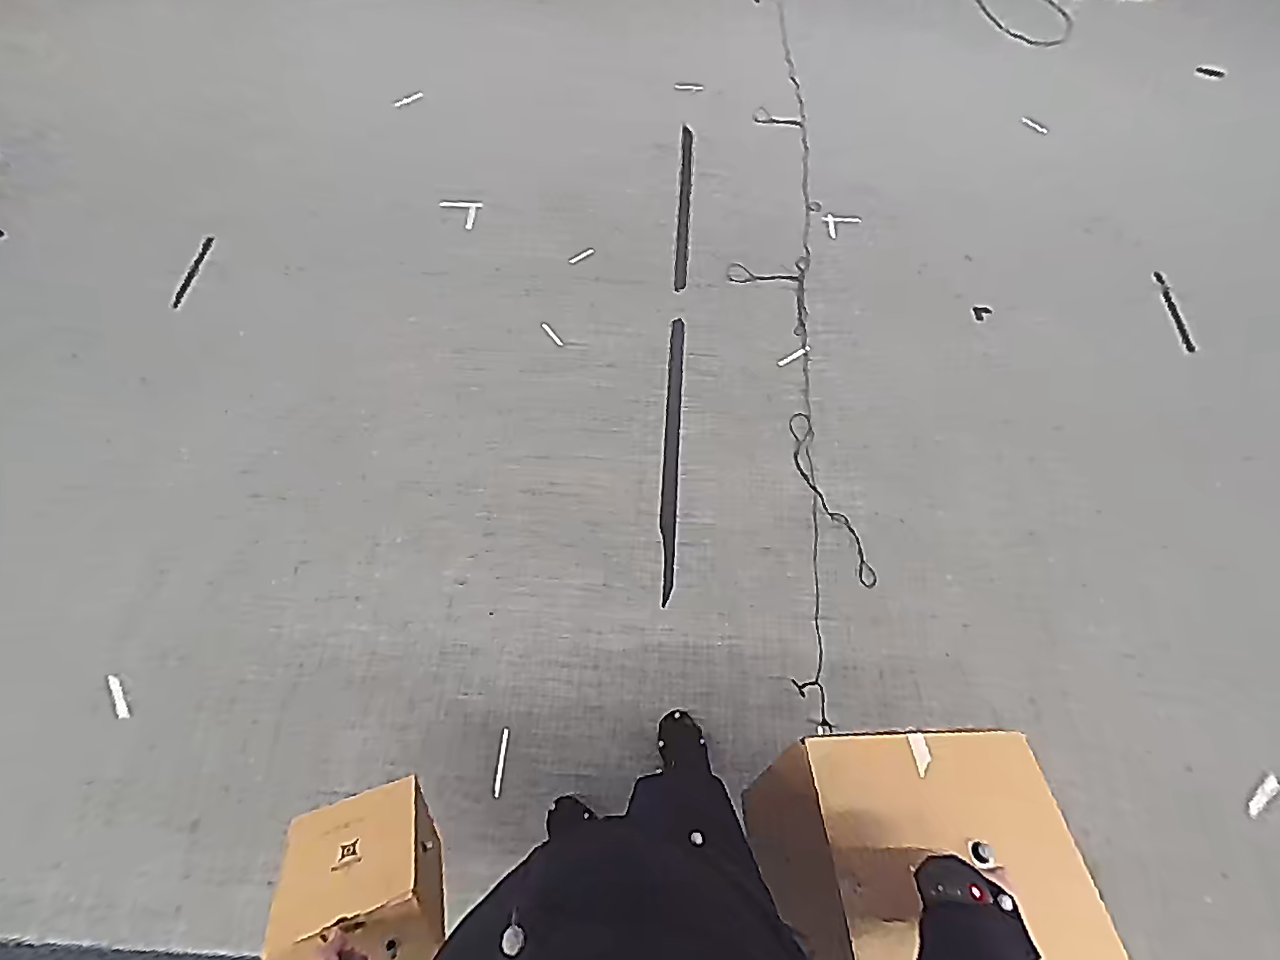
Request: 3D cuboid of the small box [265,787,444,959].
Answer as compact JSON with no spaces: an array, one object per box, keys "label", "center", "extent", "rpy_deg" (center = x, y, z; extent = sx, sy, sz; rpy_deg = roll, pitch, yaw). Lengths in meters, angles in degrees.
[{"label":"small box","center":[-0.368,0.572,0.731],"extent":[0.168,0.176,0.179],"rpy_deg":[-13,23,-17]}]
